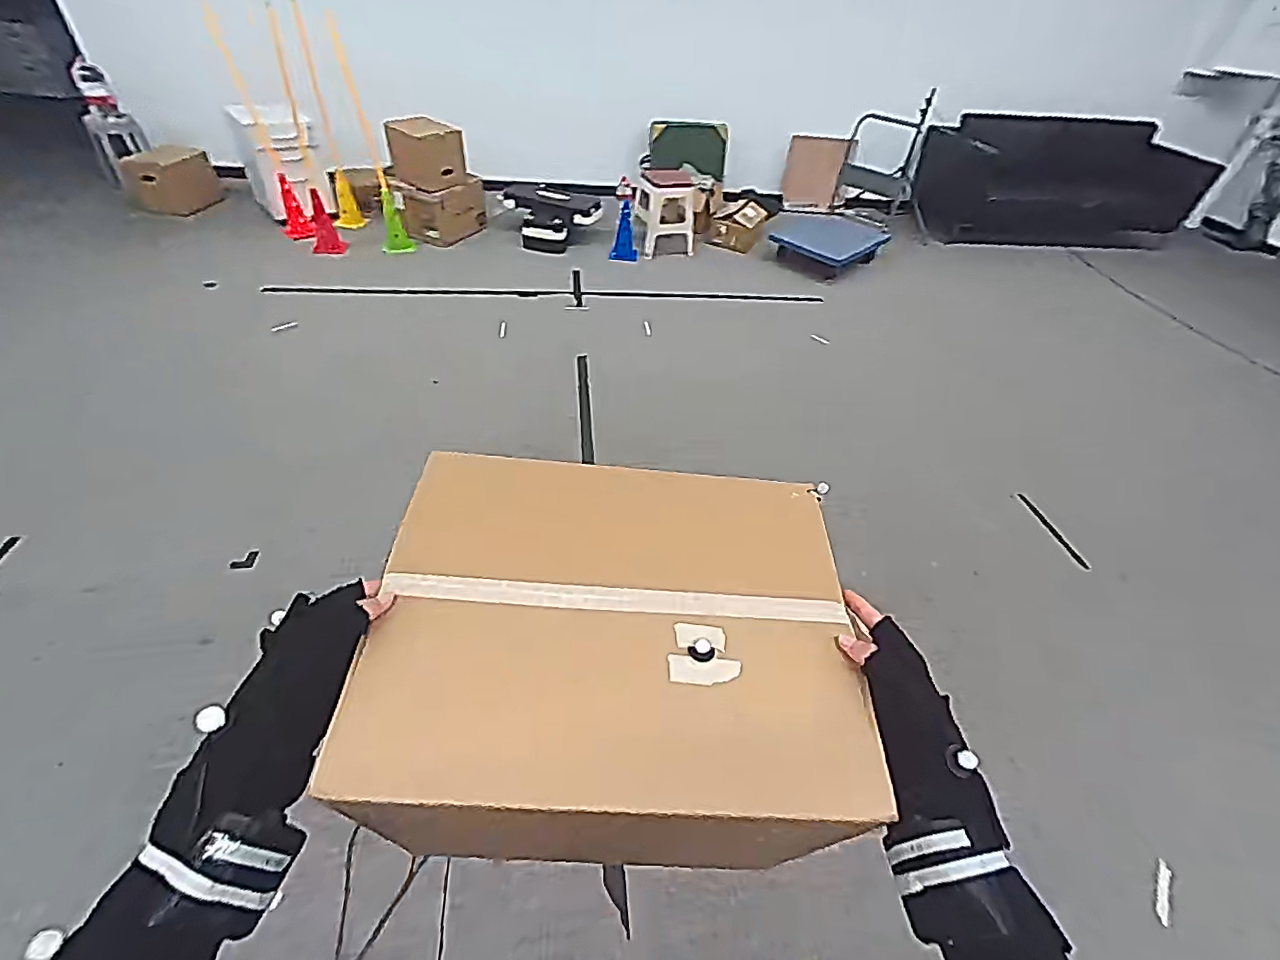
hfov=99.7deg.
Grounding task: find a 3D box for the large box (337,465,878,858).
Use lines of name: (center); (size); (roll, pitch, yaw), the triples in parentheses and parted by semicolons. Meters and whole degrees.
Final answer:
large box: (-0.034, 0.210, 0.597); (0.408, 0.320, 0.320); (5, 49, -5)
